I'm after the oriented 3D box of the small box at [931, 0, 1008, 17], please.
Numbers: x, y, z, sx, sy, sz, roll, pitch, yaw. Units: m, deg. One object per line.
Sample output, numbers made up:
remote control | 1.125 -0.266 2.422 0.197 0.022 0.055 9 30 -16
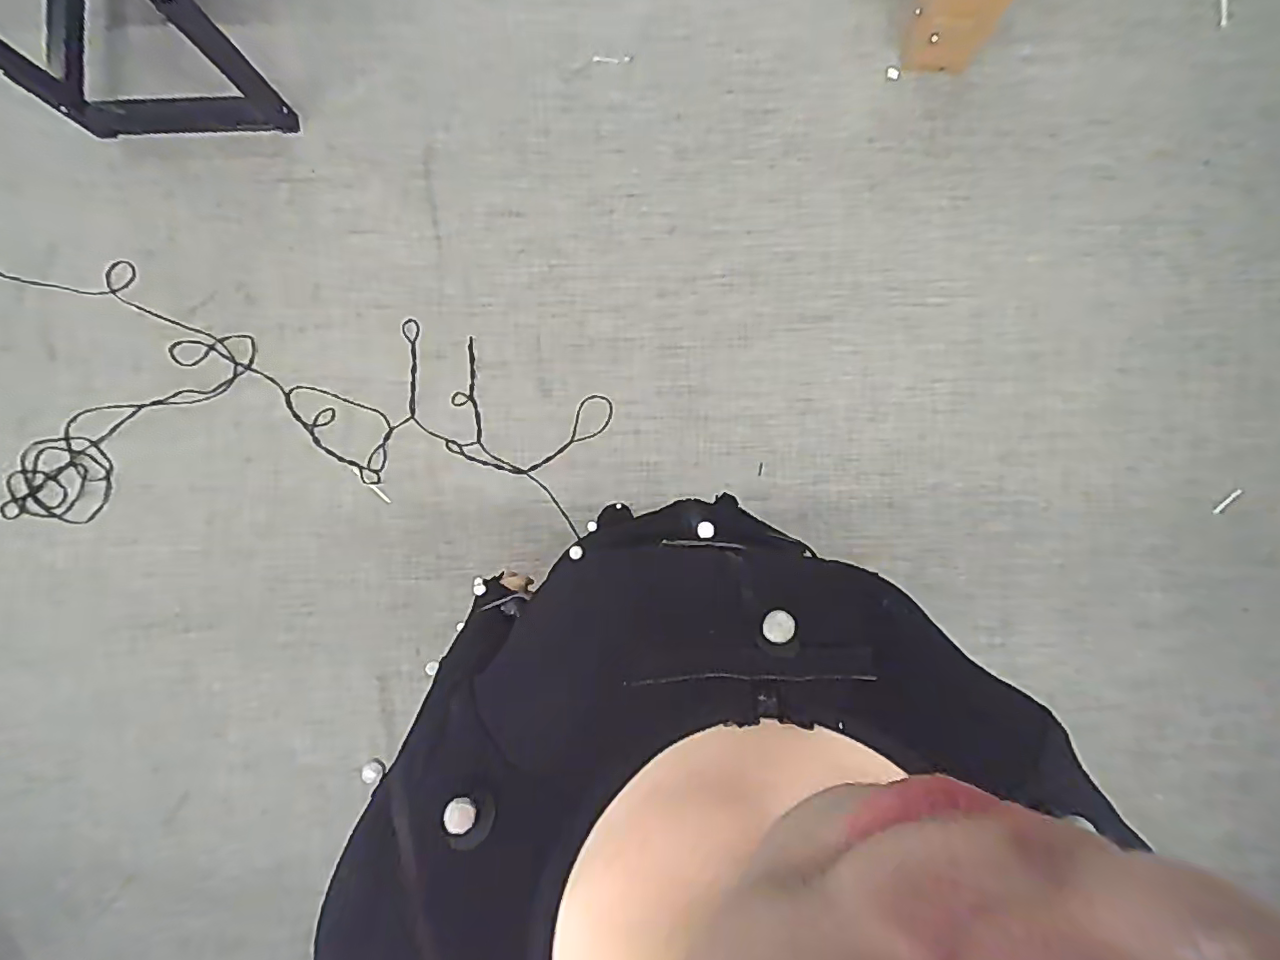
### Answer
small box | 0.836 -1.266 1.297 0.179 0.176 0.168 7 90 1
